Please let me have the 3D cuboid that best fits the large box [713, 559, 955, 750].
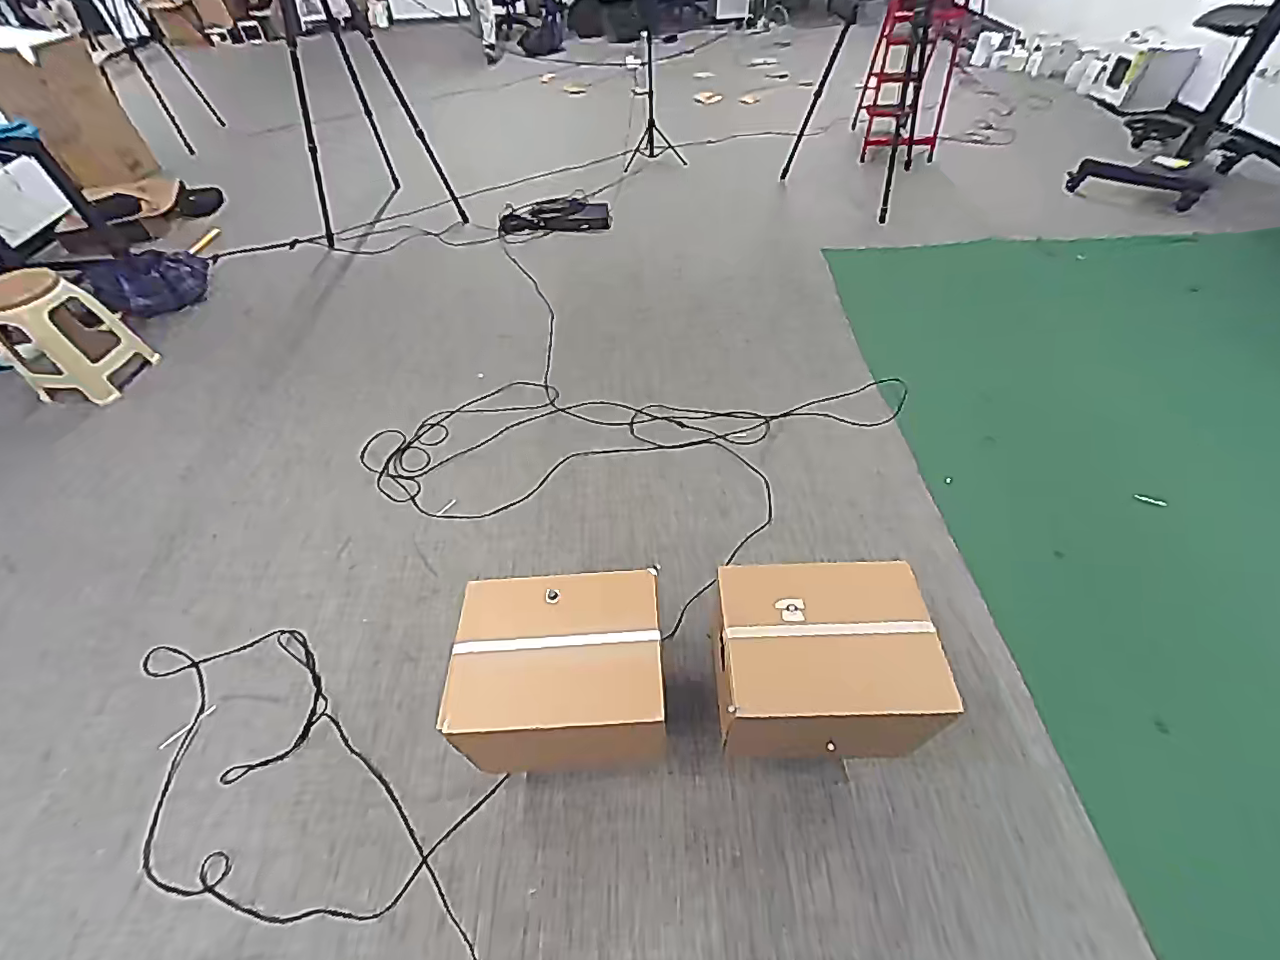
[{"bbox_3d":[0.379,0.389,1.183,0.408,0.320,0.320,-2,50,3],"label":"large box"}]
